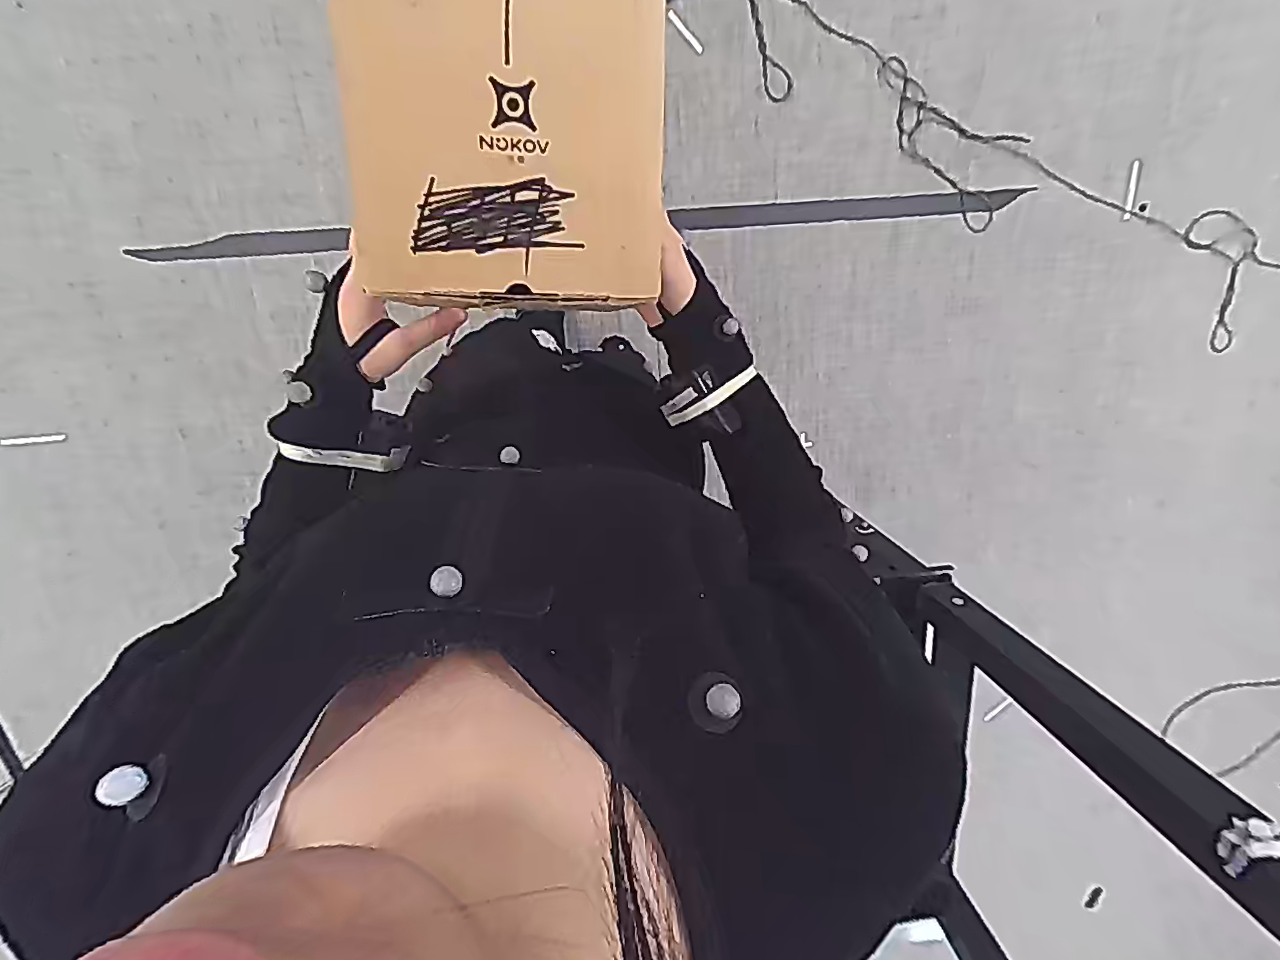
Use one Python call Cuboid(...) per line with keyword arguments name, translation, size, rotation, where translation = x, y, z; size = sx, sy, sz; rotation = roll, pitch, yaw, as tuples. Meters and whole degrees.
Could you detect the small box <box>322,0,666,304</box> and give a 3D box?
Cuboid(name="small box", translation=(-0.083, -0.209, 0.351), size=(0.168, 0.176, 0.179), rotation=(-3, 106, -12))
